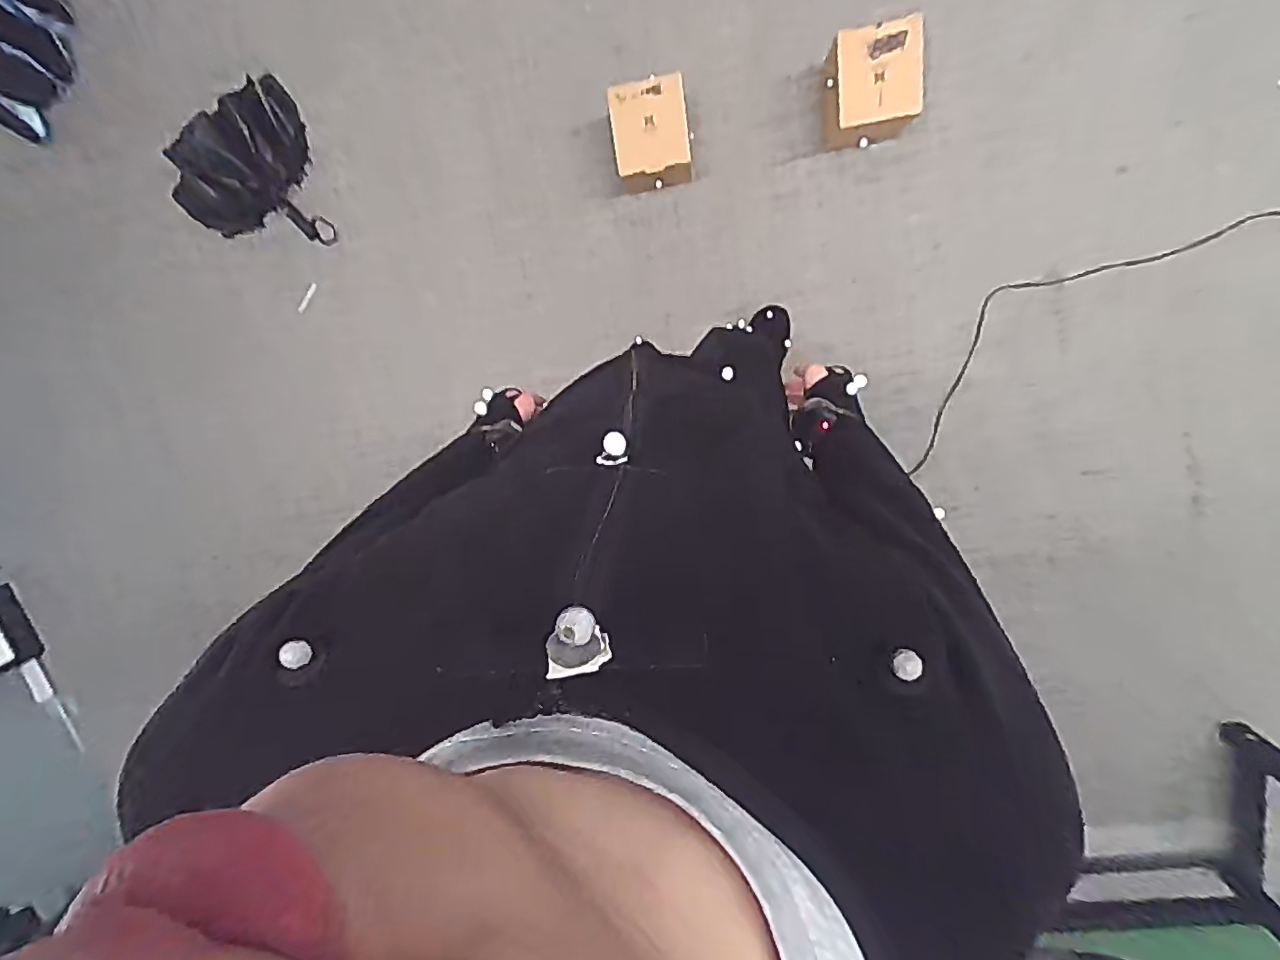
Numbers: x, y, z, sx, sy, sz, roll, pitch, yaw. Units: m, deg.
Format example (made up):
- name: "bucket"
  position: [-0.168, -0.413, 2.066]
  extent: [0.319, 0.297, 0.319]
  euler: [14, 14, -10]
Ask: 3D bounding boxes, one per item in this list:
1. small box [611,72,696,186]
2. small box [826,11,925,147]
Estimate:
- name: "small box"
  position: [0.039, -0.806, 1.265]
  extent: [0.168, 0.176, 0.179]
  euler: [-6, 105, 10]
- name: "small box"
  position: [0.505, -0.861, 1.178]
  extent: [0.168, 0.176, 0.179]
  euler: [-5, 107, 11]
